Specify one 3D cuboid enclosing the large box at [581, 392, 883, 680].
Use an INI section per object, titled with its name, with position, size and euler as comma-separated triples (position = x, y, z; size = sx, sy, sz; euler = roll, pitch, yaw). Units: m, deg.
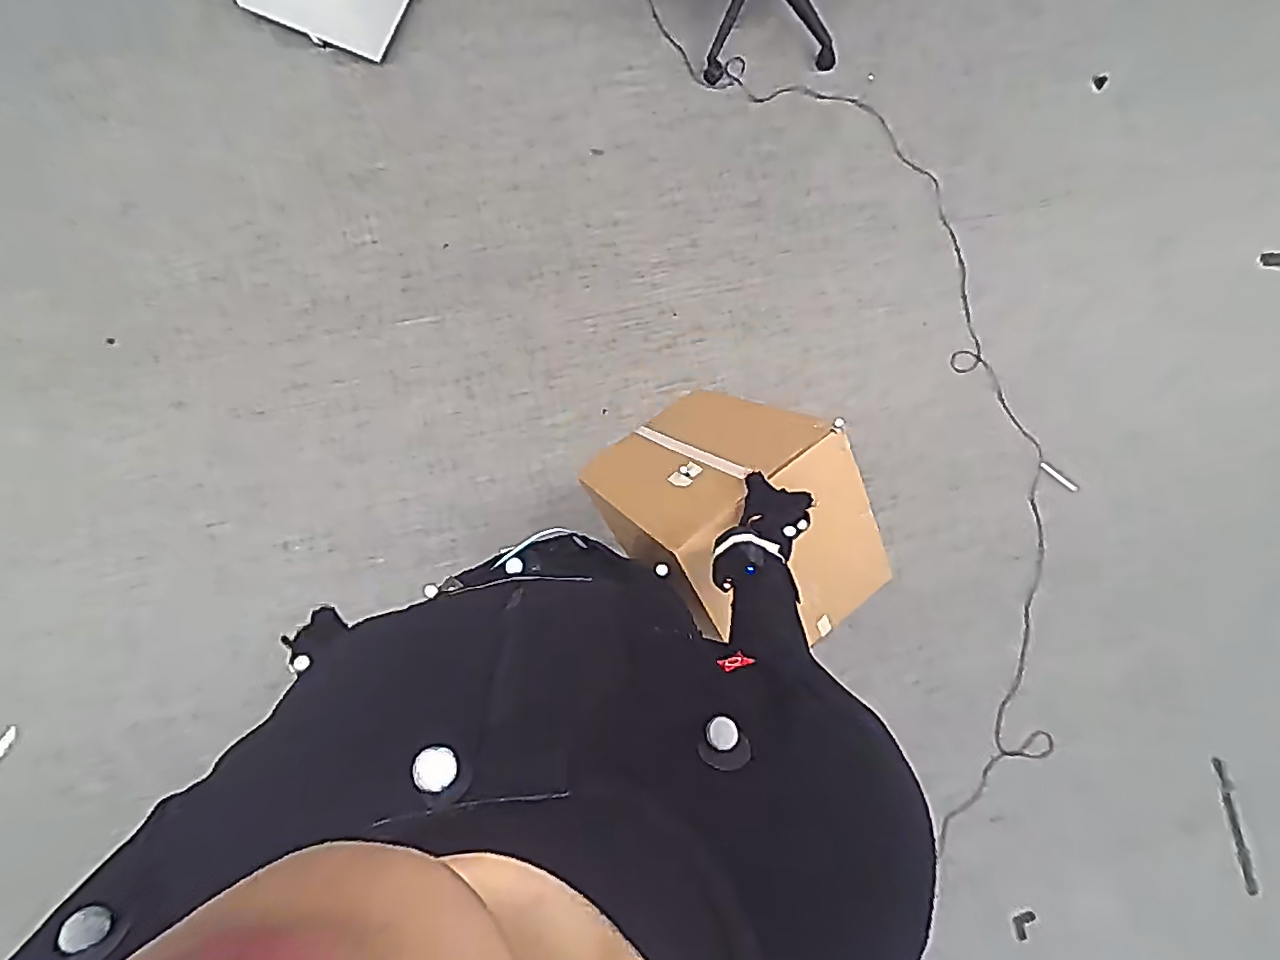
[large box]
position = 0.152, 0.071, 0.991
size = 0.320, 0.408, 0.320
euler = -37, 119, -11
